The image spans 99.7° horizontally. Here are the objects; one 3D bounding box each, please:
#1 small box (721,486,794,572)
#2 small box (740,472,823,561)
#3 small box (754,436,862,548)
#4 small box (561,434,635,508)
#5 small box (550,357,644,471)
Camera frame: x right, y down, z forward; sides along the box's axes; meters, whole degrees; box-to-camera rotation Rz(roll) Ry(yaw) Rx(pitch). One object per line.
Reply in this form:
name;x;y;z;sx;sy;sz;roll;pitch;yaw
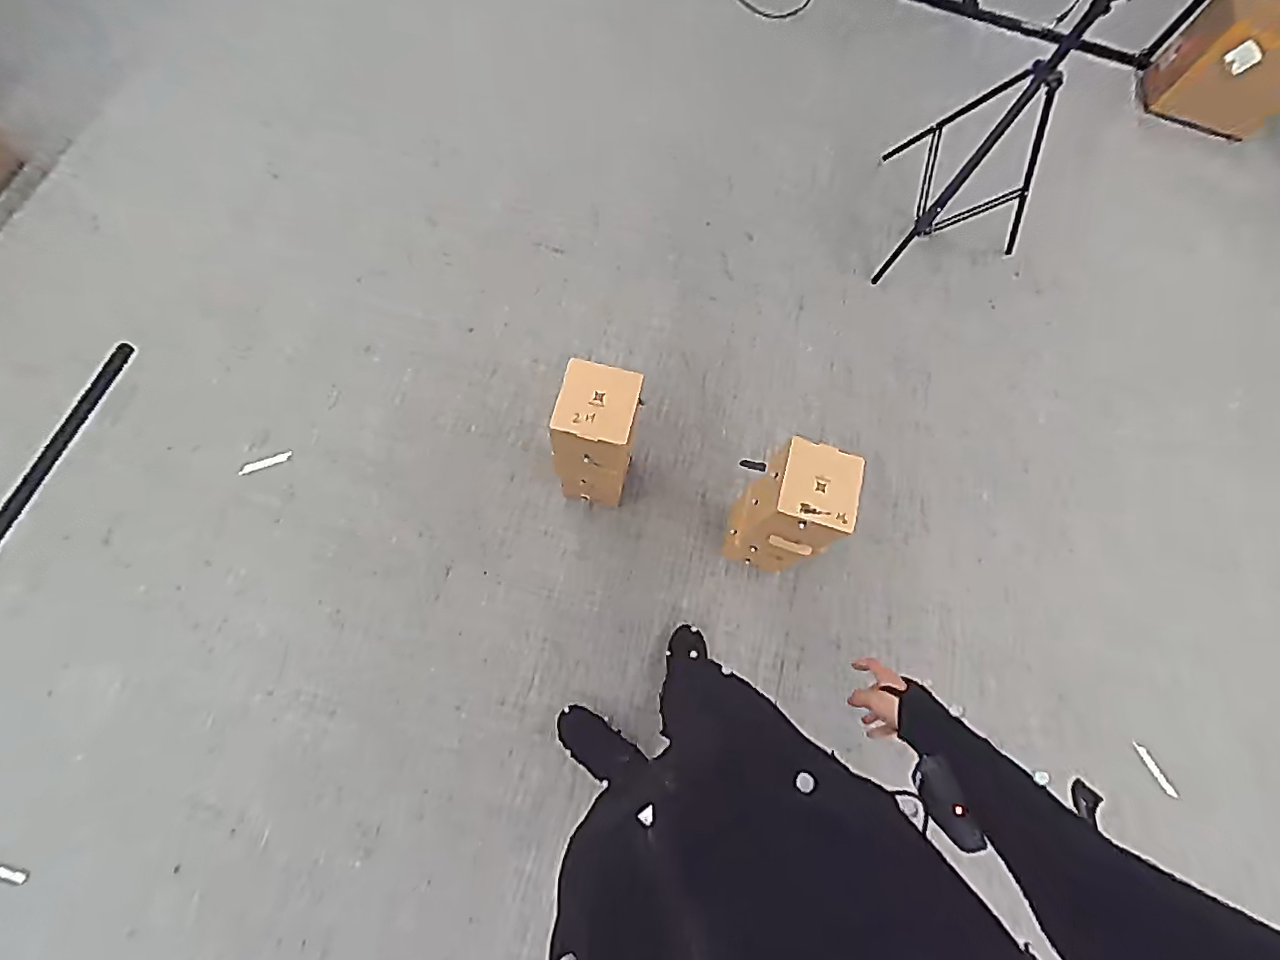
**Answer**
small box;0.339;0.142;1.510;0.168;0.176;0.179;18;71;0
small box;0.363;0.091;1.356;0.168;0.176;0.179;18;70;-1
small box;0.366;0.033;1.201;0.168;0.176;0.179;18;70;0
small box;-0.120;-0.040;1.523;0.168;0.176;0.179;14;70;0
small box;-0.095;-0.143;1.212;0.168;0.176;0.179;14;71;0
